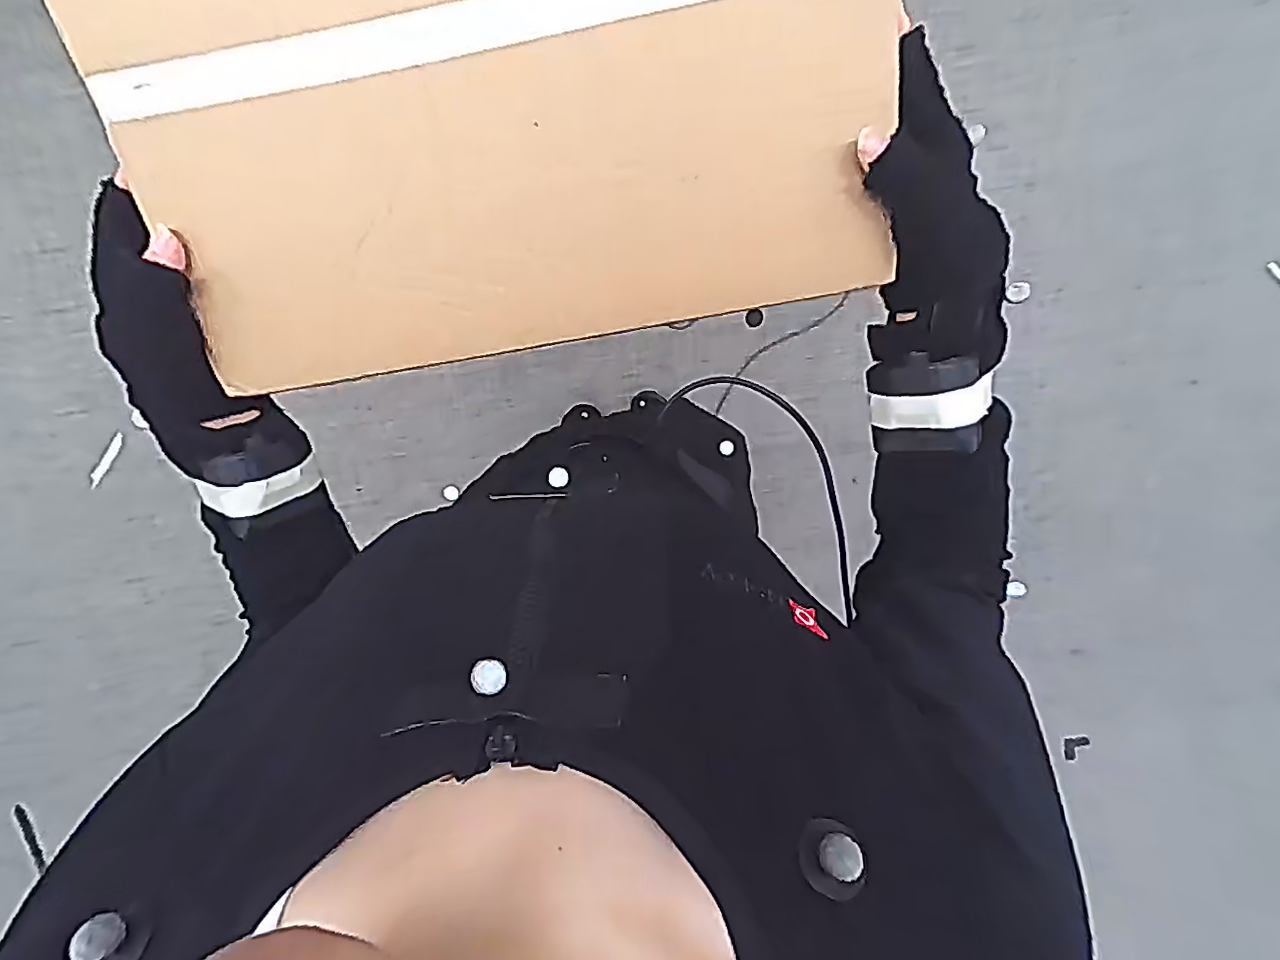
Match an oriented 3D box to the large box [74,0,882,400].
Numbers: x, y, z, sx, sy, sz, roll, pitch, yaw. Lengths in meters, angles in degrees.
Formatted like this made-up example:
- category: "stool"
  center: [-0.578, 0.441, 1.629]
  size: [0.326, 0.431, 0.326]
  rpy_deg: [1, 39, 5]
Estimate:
- category: "large box"
  center: [-0.078, -0.278, 0.418]
  size: [0.408, 0.320, 0.320]
  rpy_deg: [-9, 110, 3]
